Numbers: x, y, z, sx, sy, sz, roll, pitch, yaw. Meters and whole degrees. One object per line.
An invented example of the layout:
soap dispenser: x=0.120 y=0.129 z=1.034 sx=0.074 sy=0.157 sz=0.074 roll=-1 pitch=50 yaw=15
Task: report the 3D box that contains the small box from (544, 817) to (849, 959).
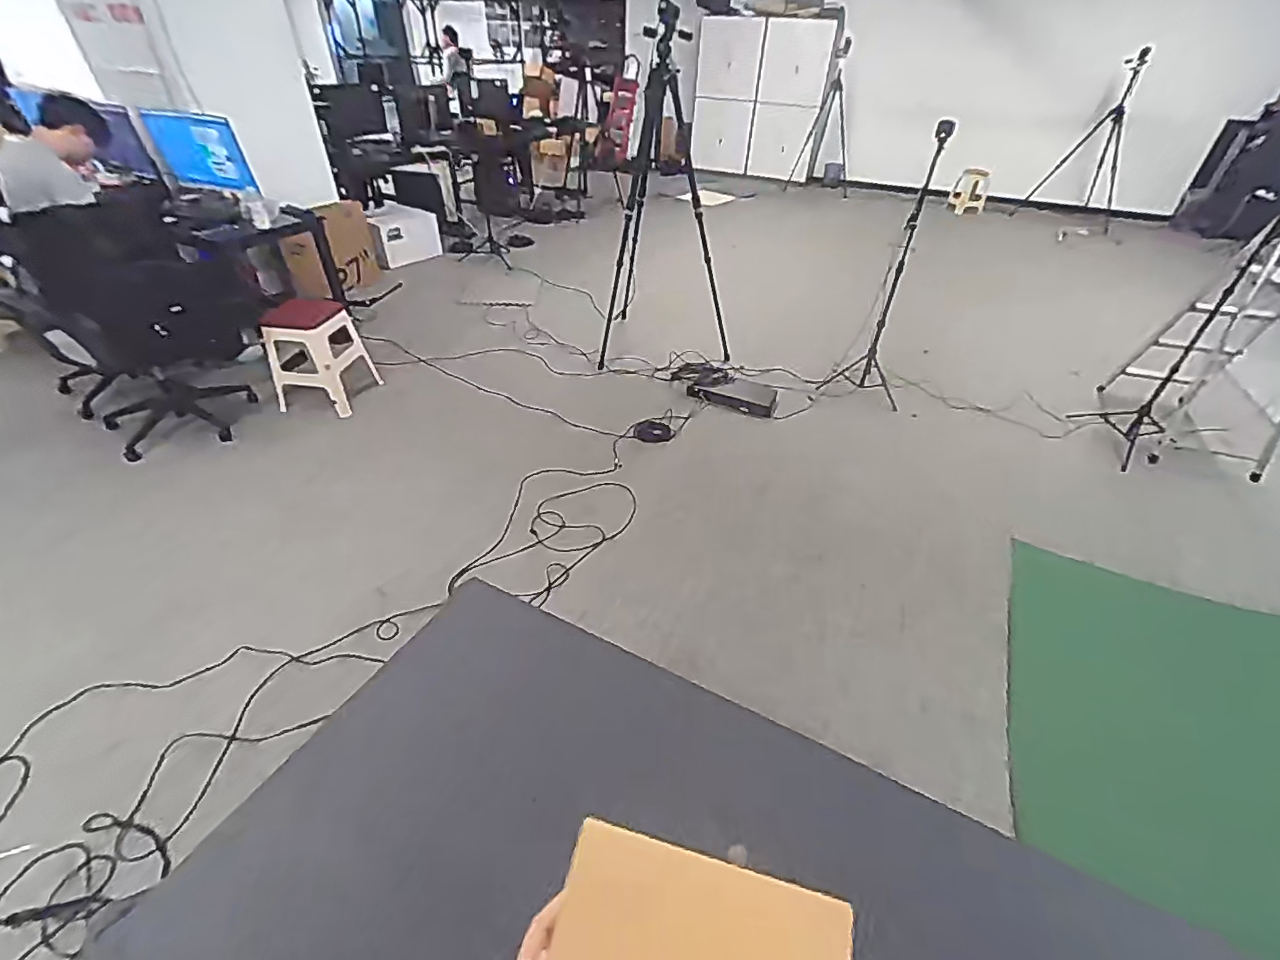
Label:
small box: x=0.021 y=0.340 z=0.342 sx=0.168 sy=0.176 sz=0.179 roll=11 pitch=57 yaw=10
